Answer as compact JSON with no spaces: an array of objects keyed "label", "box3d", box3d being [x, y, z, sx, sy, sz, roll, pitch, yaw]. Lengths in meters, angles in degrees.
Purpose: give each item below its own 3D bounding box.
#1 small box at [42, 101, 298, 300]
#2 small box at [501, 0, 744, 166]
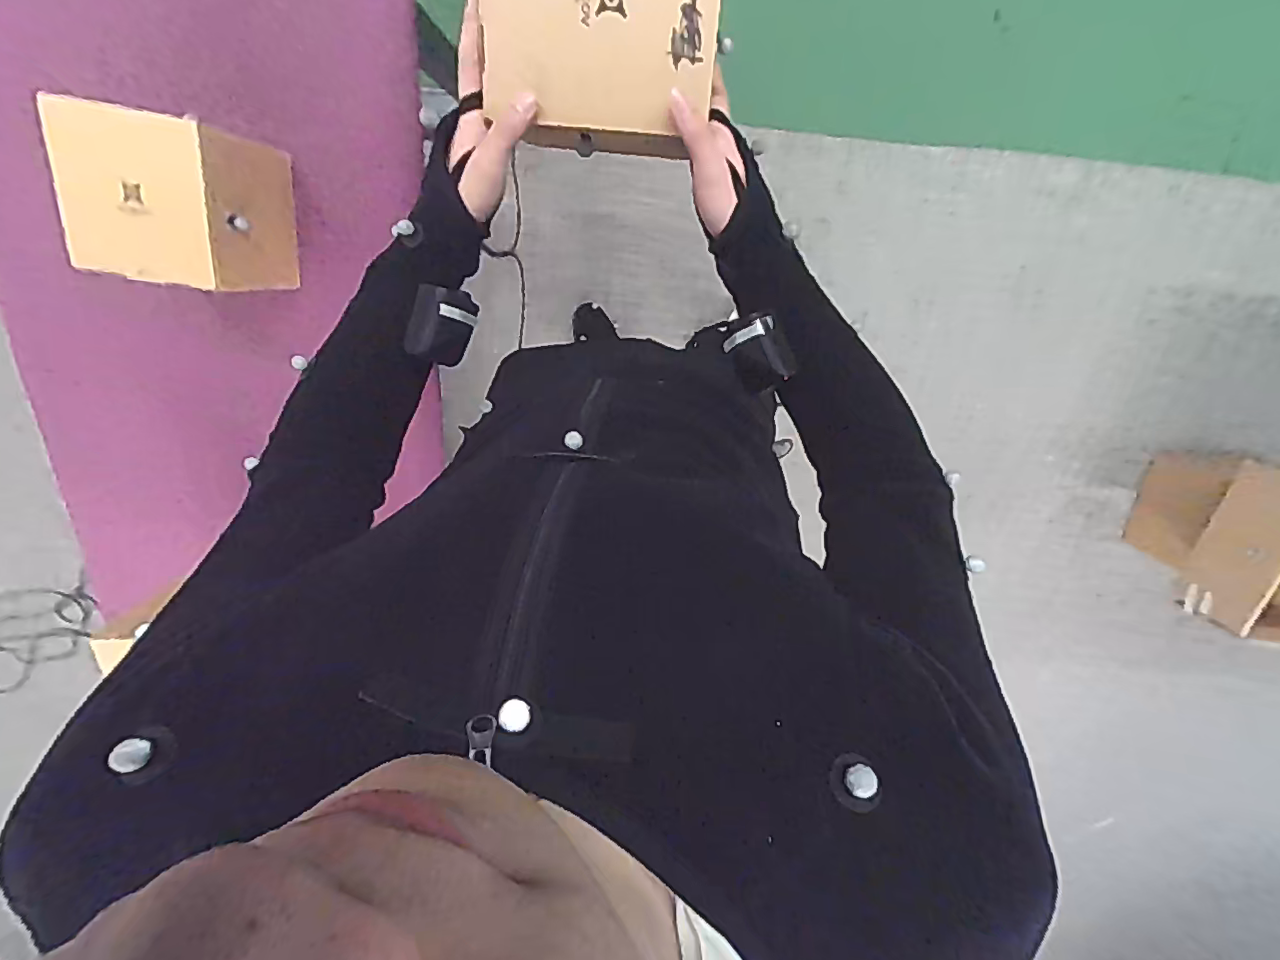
[{"label":"small box","box3d":[-0.557,-0.333,0.673,0.168,0.176,0.179,8,112,-4]},{"label":"small box","box3d":[-0.011,-0.375,0.460,0.179,0.176,0.168,5,116,-1]}]
